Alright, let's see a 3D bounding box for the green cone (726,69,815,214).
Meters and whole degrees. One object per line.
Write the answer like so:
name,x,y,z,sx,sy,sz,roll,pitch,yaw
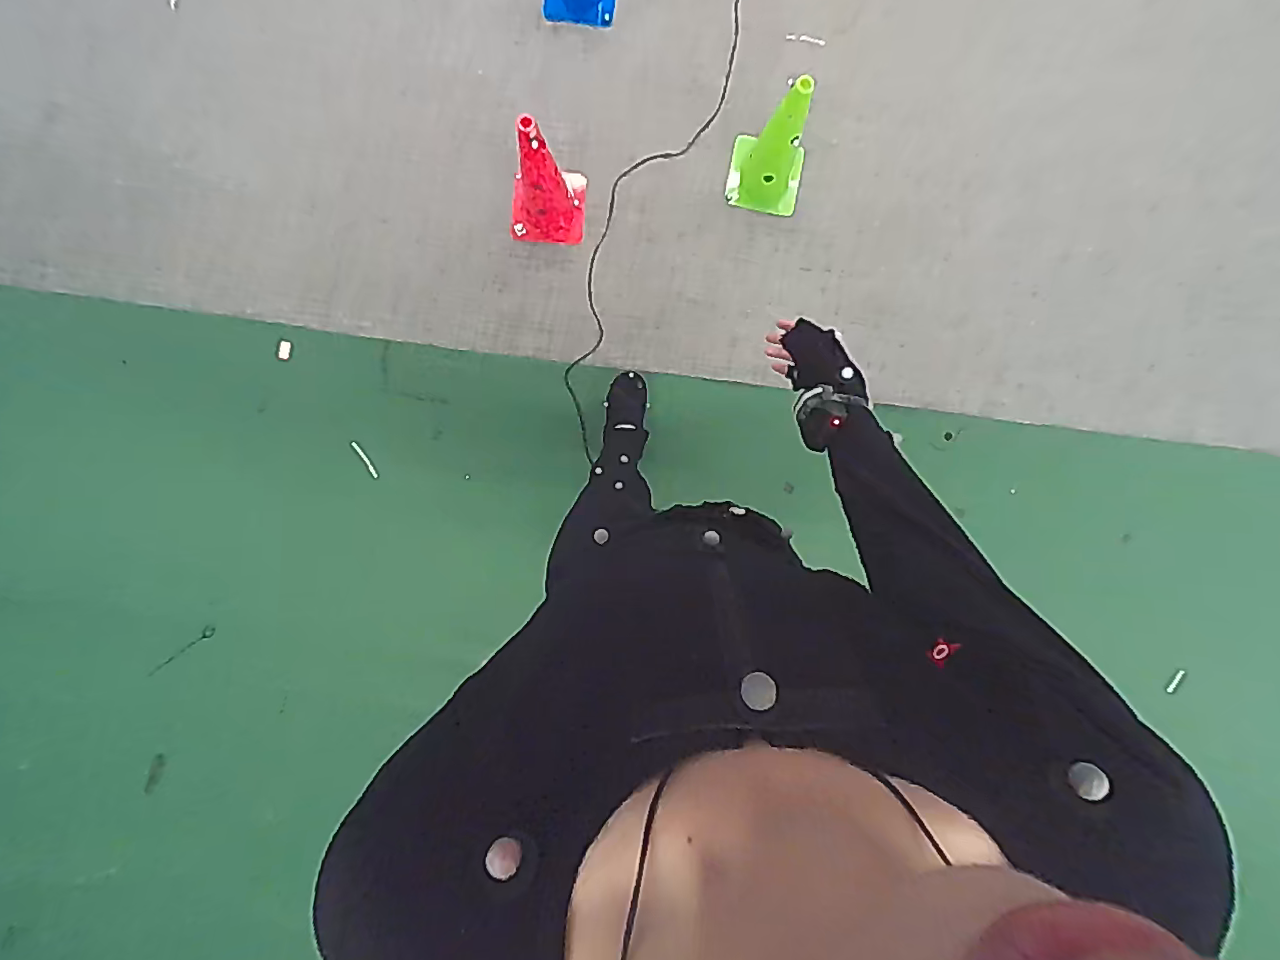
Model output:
green cone,0.356,-0.859,1.343,0.200,0.368,0.202,10,88,-2
